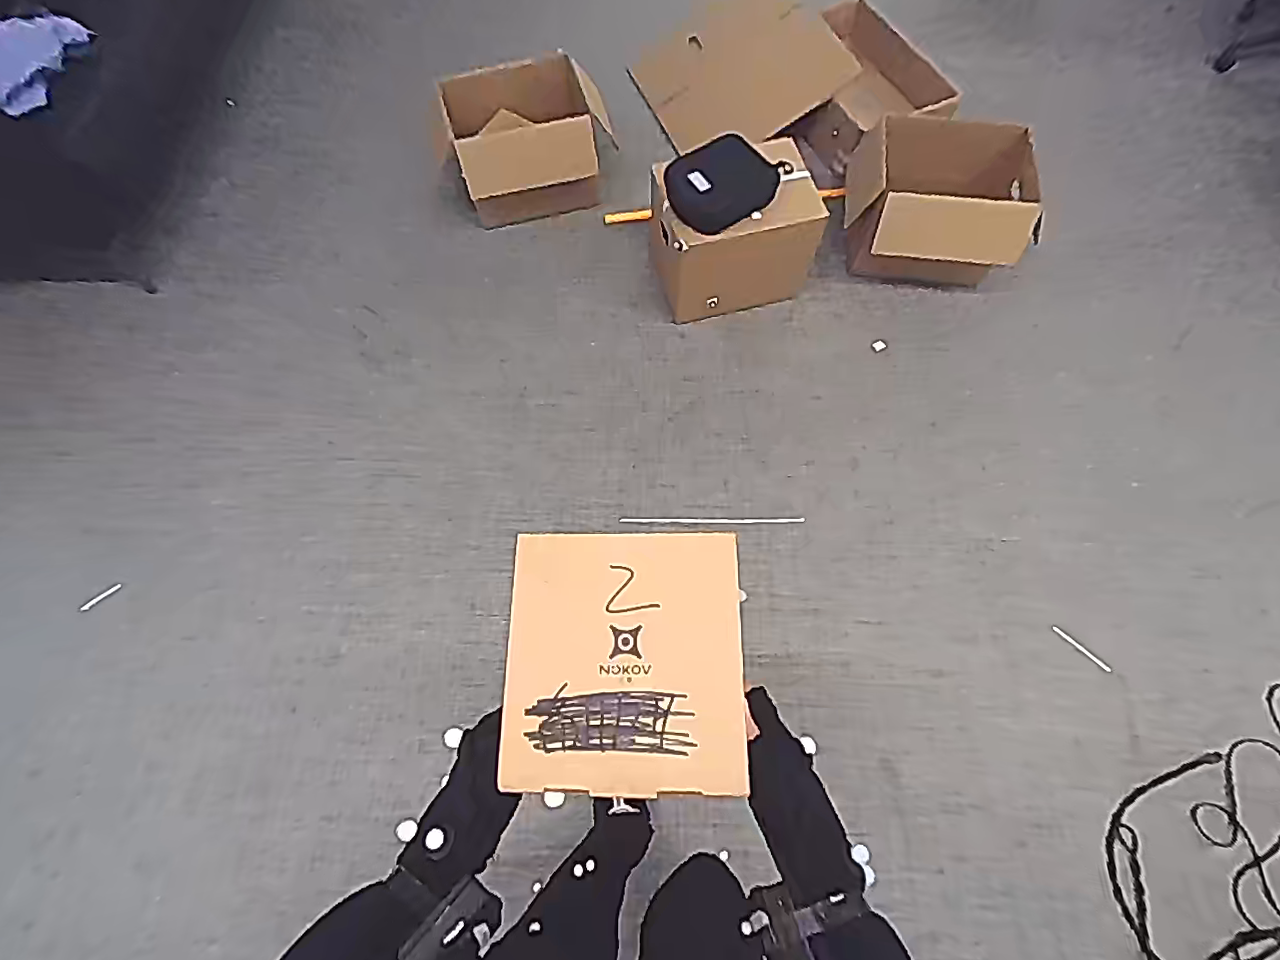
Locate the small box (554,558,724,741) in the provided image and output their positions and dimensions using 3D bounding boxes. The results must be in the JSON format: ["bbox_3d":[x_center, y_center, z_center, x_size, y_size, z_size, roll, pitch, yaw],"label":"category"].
[{"bbox_3d":[0.001,0.197,0.618,0.168,0.176,0.179,-3,68,2],"label":"small box"}]
